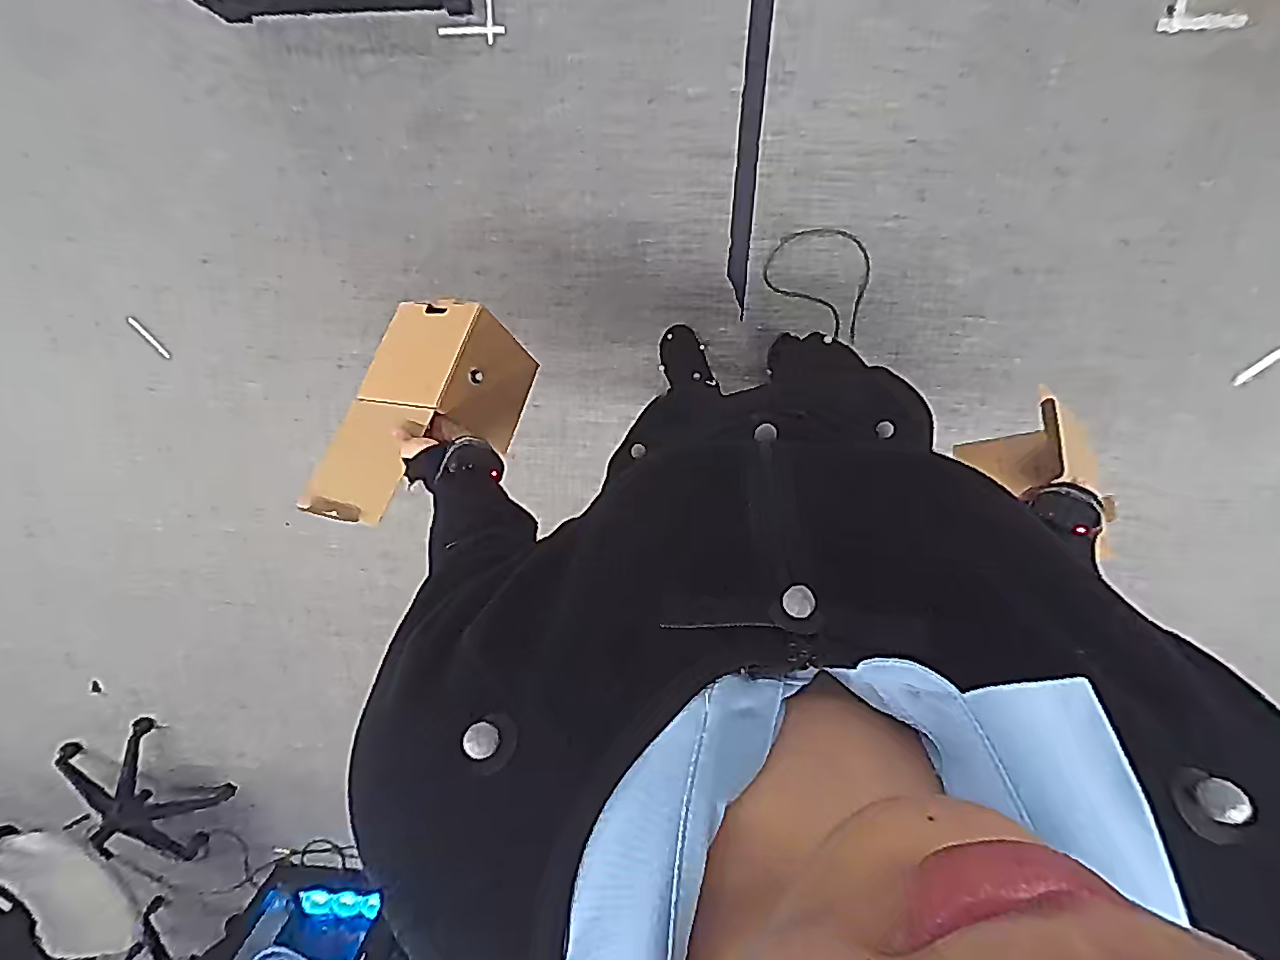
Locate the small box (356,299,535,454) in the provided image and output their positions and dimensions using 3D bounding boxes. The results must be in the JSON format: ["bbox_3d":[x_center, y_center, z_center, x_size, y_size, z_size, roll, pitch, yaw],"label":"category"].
[{"bbox_3d":[-0.290,-0.156,0.843,0.168,0.176,0.179,10,72,24],"label":"small box"}]
